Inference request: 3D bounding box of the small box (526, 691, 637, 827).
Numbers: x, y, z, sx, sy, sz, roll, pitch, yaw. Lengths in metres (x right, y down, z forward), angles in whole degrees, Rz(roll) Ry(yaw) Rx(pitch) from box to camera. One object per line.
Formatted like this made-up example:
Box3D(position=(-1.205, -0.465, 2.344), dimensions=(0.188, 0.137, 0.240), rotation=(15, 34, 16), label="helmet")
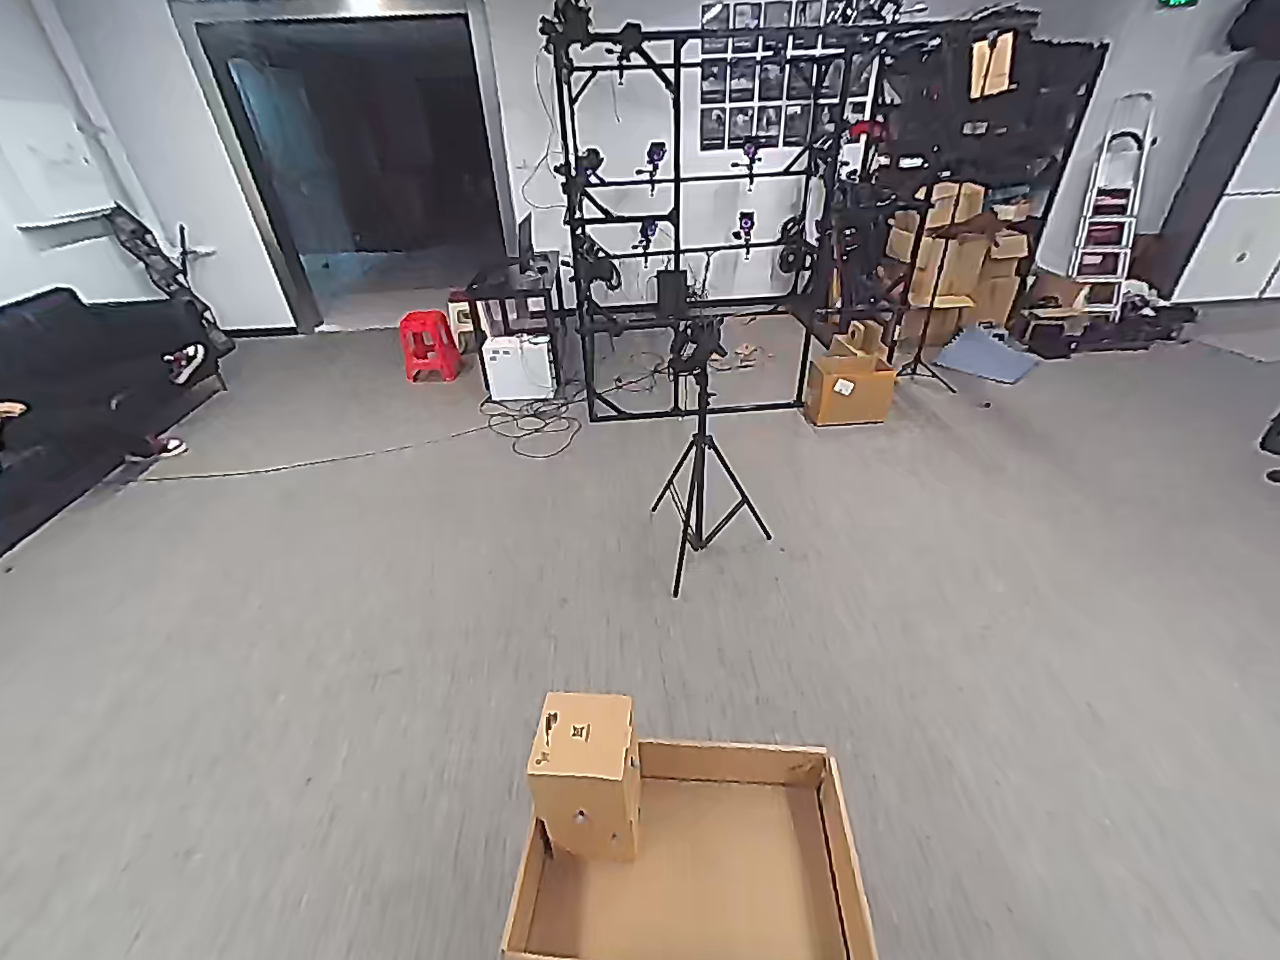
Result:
Box3D(position=(-0.099, 0.532, 1.031), dimensions=(0.179, 0.176, 0.168), rotation=(2, 33, 6), label="small box")
